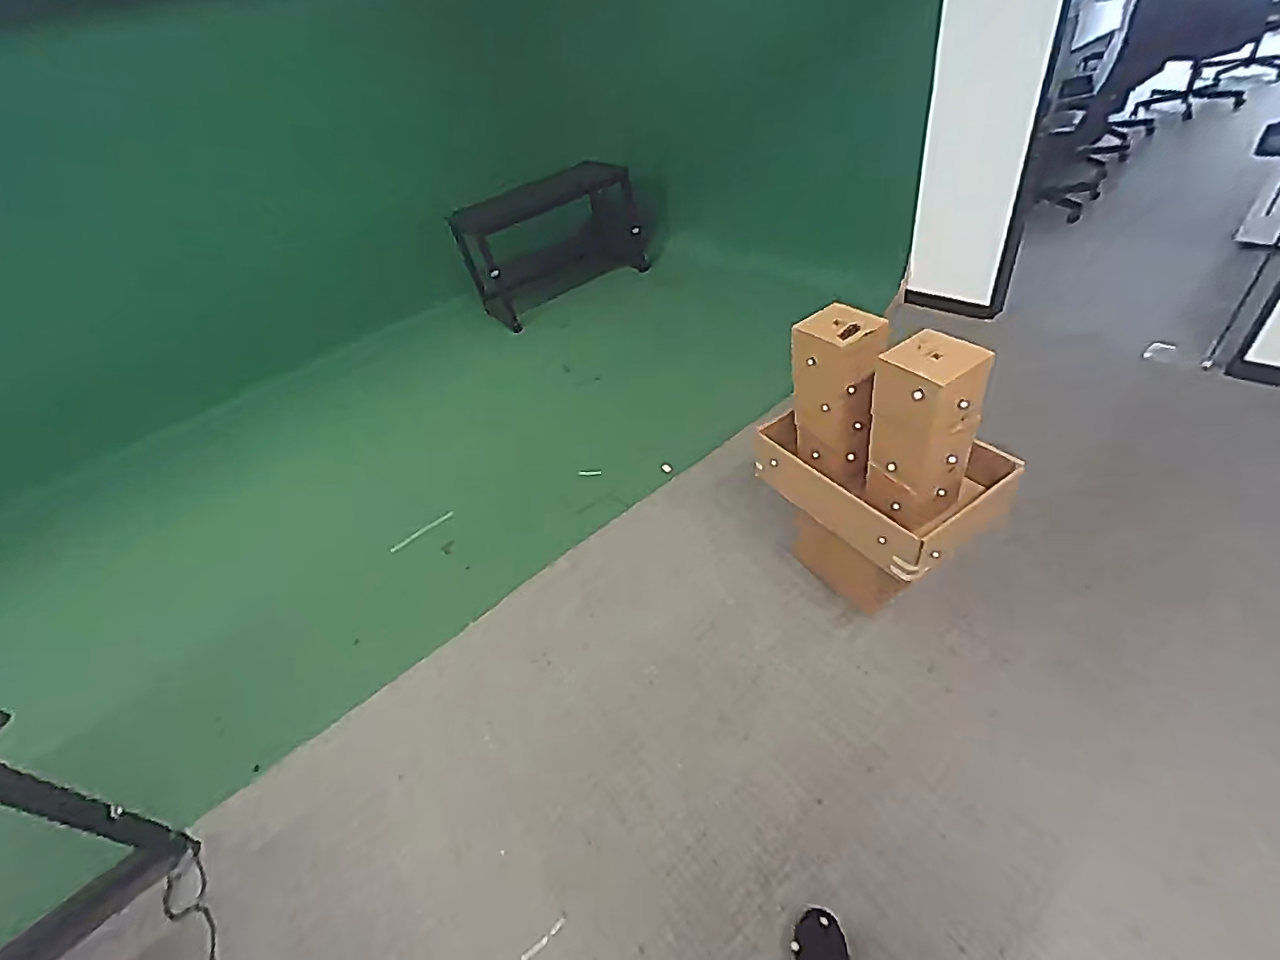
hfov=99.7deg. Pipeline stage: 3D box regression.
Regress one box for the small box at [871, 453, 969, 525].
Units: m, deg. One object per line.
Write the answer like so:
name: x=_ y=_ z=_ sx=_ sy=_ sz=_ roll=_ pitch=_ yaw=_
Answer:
small box: x=0.756 y=-0.008 z=1.477 sx=0.179 sy=0.176 sz=0.168 roll=-28 pitch=44 yaw=-11

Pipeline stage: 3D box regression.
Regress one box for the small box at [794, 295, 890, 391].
small box: x=0.531 y=-0.359 z=1.434 sx=0.168 sy=0.176 sz=0.179 roll=-31 pitch=44 yaw=-15

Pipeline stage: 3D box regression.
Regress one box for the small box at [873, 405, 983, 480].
small box: x=0.718 y=-0.123 z=1.368 sx=0.168 sy=0.176 sz=0.179 roll=-28 pitch=45 yaw=-11

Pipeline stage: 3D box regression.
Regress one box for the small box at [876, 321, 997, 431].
small box: x=0.676 y=-0.236 z=1.254 sx=0.168 sy=0.176 sz=0.179 roll=-30 pitch=44 yaw=-13
